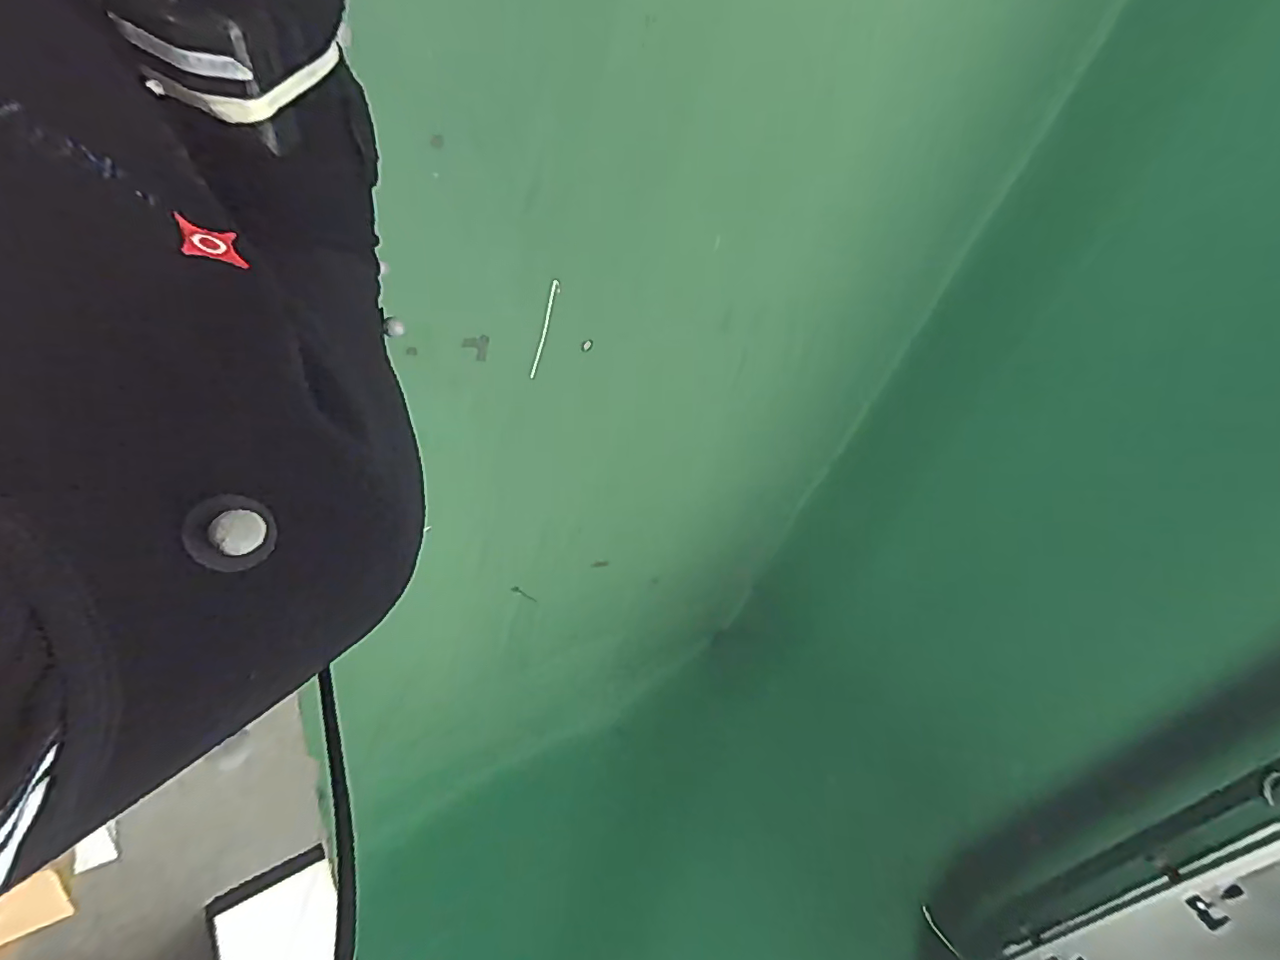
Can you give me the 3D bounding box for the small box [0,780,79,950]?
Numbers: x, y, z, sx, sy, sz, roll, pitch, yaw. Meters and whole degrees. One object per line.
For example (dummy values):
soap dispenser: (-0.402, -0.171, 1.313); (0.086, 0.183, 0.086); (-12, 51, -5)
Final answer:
small box: (-0.969, 0.584, 0.806); (0.168, 0.176, 0.179); (-7, 134, -40)
